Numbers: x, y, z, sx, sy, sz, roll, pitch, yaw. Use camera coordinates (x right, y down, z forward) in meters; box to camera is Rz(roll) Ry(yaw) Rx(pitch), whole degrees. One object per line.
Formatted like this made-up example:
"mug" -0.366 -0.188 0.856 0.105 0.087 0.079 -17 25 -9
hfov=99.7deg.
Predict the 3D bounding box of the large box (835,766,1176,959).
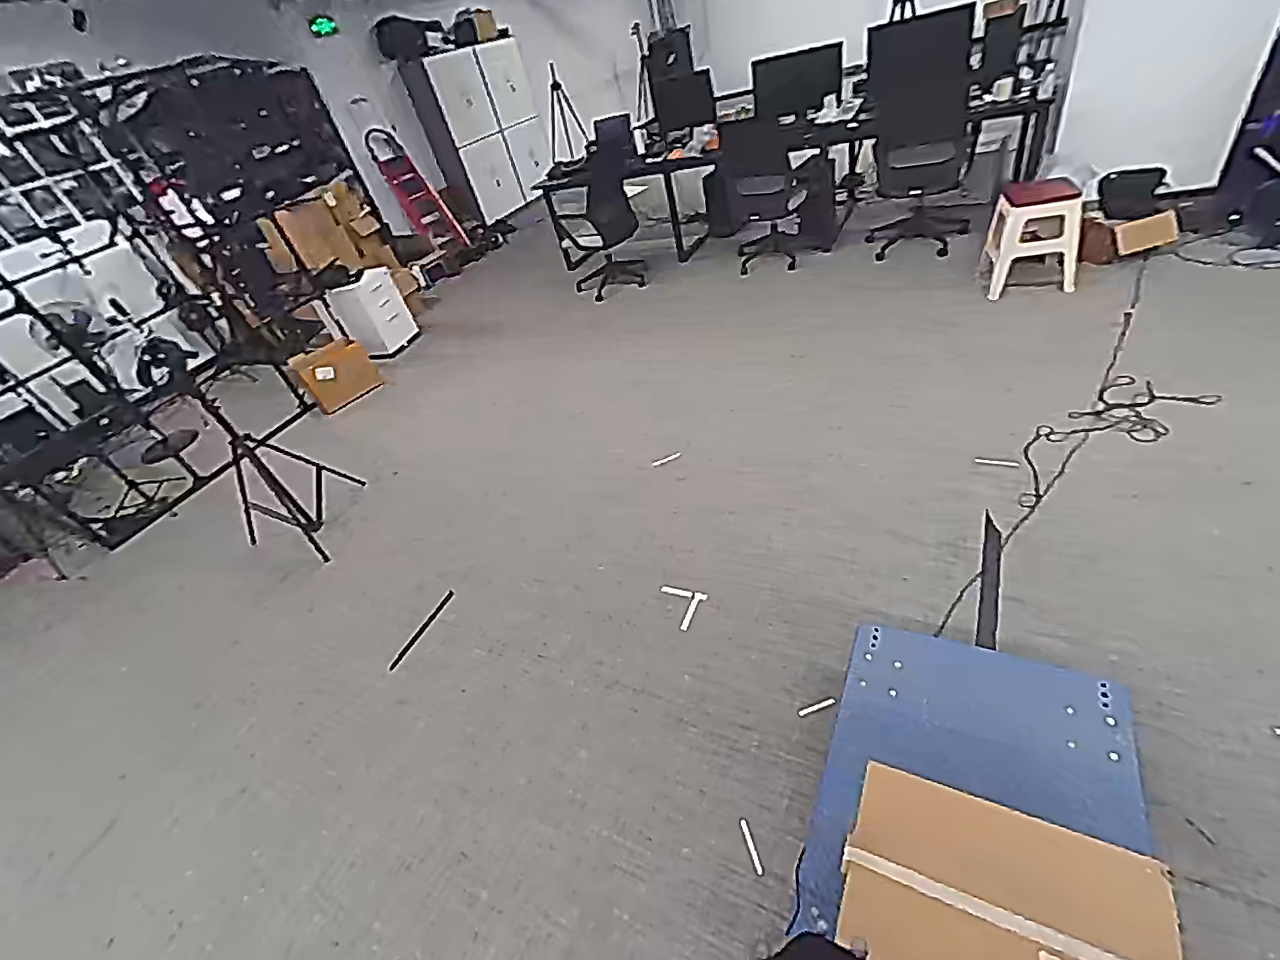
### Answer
"large box" 0.546 0.743 0.870 0.408 0.320 0.320 9 45 28
